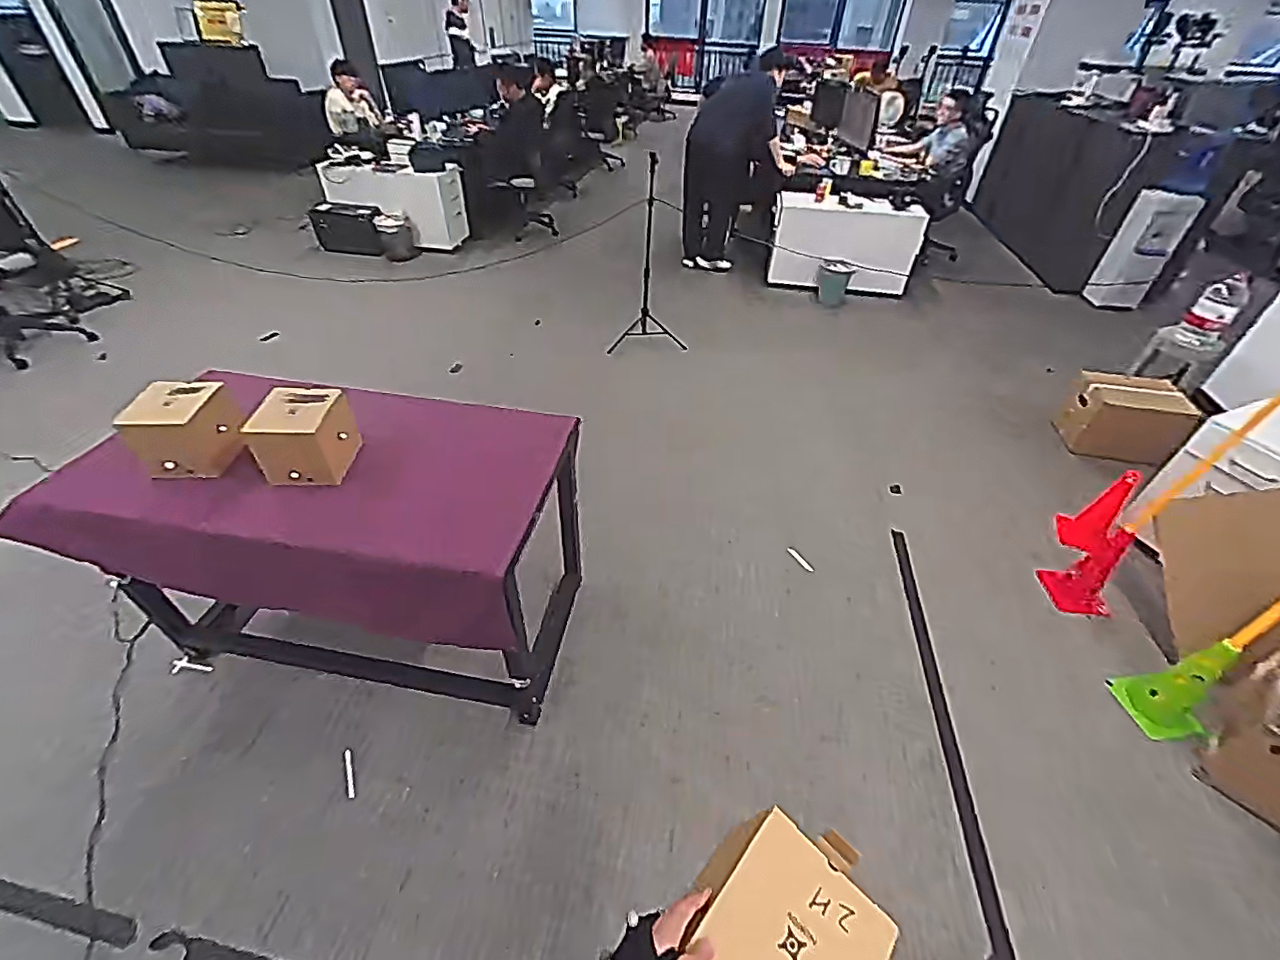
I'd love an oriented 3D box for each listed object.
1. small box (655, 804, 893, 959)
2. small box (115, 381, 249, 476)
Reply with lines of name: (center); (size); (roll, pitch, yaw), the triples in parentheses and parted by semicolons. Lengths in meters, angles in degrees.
small box: (0.134, 0.508, 0.598); (0.168, 0.176, 0.179); (41, 51, 19)
small box: (-1.115, -0.128, 1.339); (0.168, 0.176, 0.179); (-1, 43, -3)
